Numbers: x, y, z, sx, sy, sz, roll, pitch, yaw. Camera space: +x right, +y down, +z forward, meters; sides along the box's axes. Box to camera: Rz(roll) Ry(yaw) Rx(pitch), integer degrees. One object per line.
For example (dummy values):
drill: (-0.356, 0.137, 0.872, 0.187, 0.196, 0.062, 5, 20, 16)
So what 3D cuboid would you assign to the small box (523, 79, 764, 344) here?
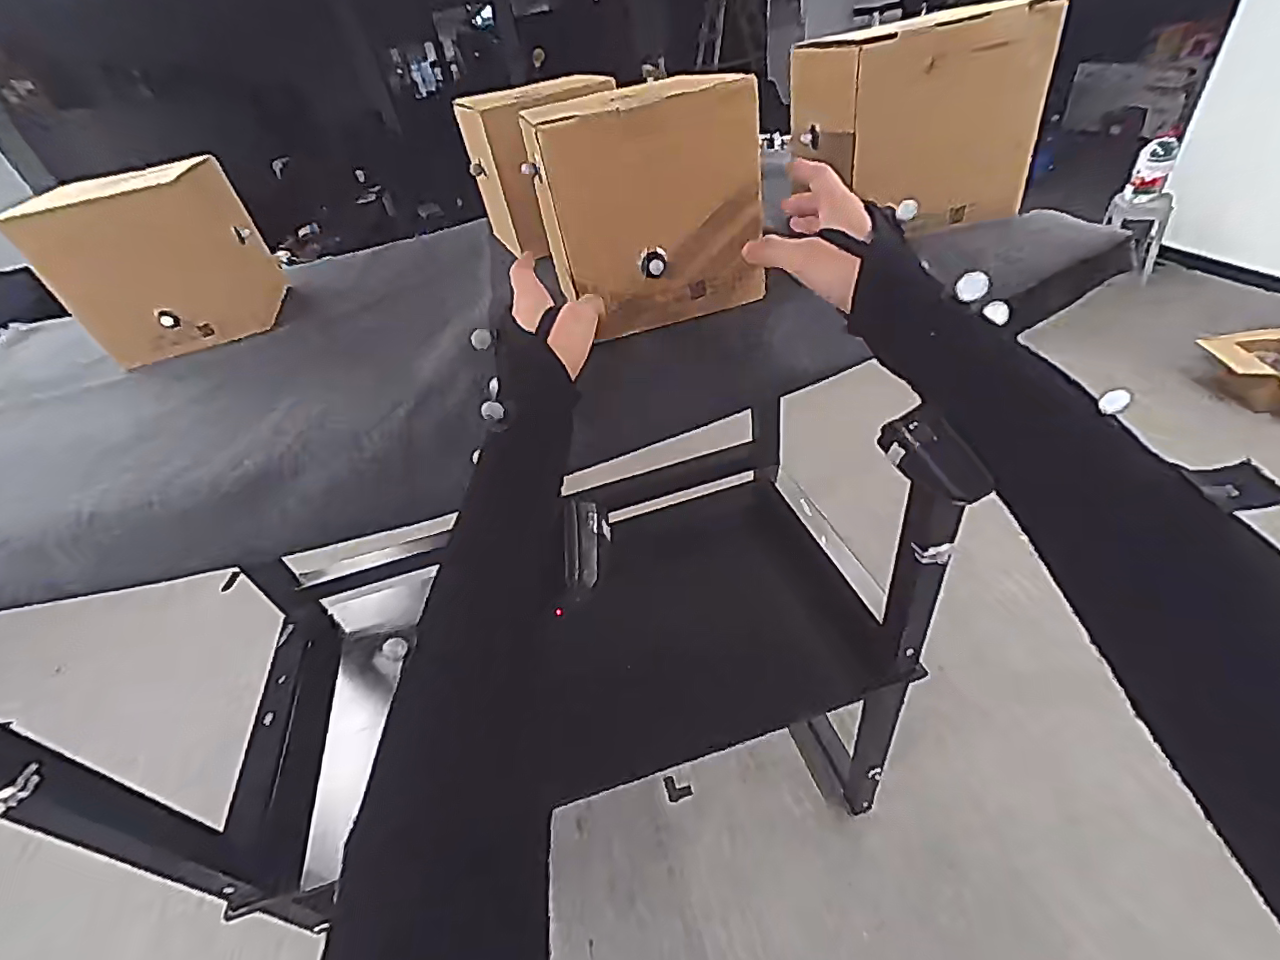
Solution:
small box: (0.001, -0.245, 0.491, 0.168, 0.176, 0.179, -17, 39, -6)

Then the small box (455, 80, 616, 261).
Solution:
small box: (-0.123, -0.406, 0.712, 0.168, 0.176, 0.179, -24, 41, -13)

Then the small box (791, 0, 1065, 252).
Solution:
small box: (0.257, -0.339, 0.534, 0.168, 0.176, 0.179, -12, 38, 1)
